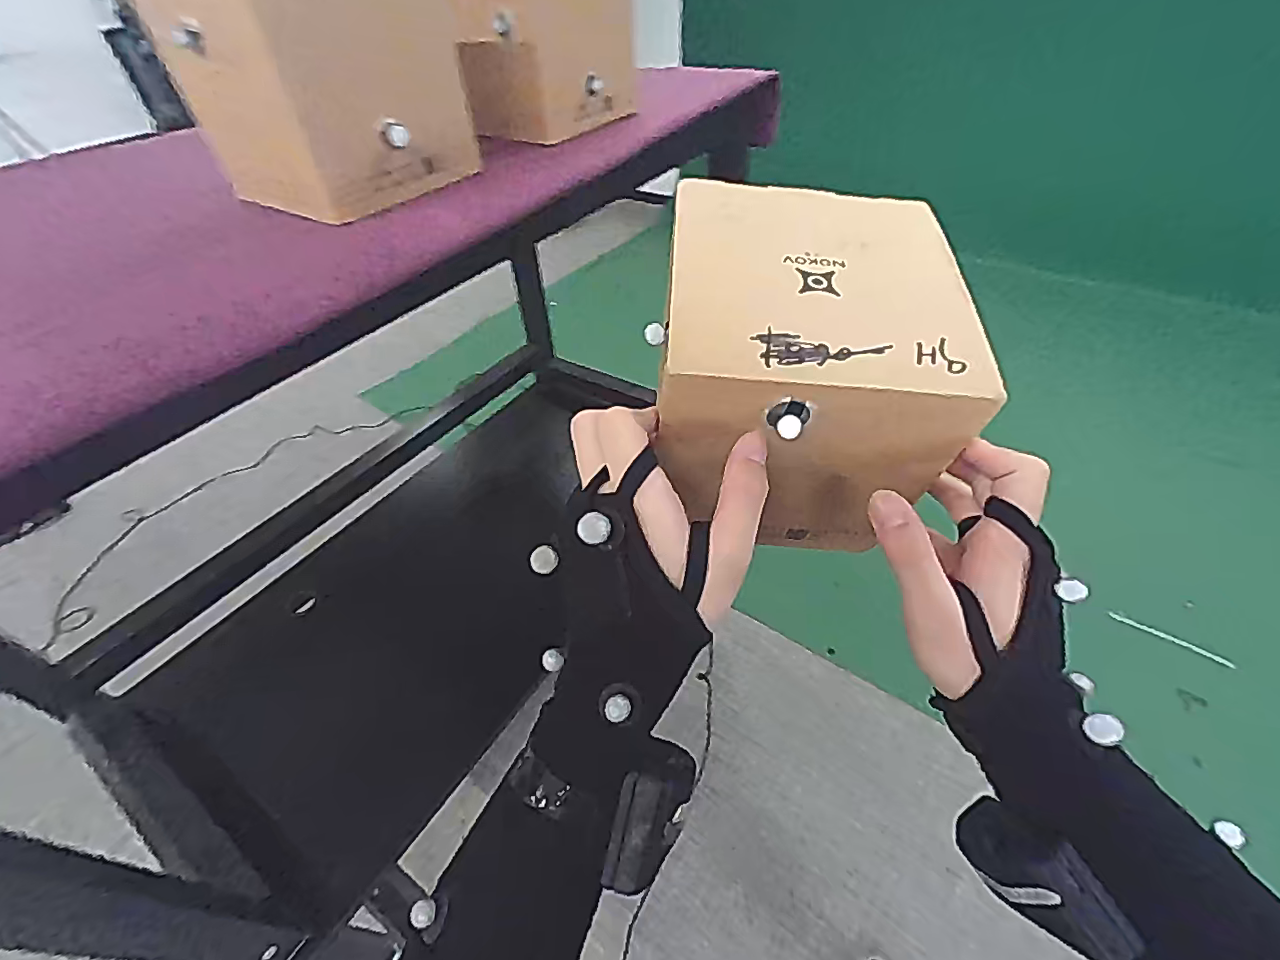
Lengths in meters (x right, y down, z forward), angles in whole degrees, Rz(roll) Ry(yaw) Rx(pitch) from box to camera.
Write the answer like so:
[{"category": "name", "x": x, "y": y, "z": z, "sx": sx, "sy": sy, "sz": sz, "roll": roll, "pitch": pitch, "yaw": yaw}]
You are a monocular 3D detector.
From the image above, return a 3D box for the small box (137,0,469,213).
[{"category": "small box", "x": -0.284, "y": -0.352, "z": 0.473, "sx": 0.179, "sy": 0.176, "sz": 0.168, "roll": 25, "pitch": 52, "yaw": 26}]

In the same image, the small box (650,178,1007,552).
[{"category": "small box", "x": 0.097, "y": -0.072, "z": 0.370, "sx": 0.168, "sy": 0.176, "sz": 0.179, "roll": 6, "pitch": 55, "yaw": 1}]
